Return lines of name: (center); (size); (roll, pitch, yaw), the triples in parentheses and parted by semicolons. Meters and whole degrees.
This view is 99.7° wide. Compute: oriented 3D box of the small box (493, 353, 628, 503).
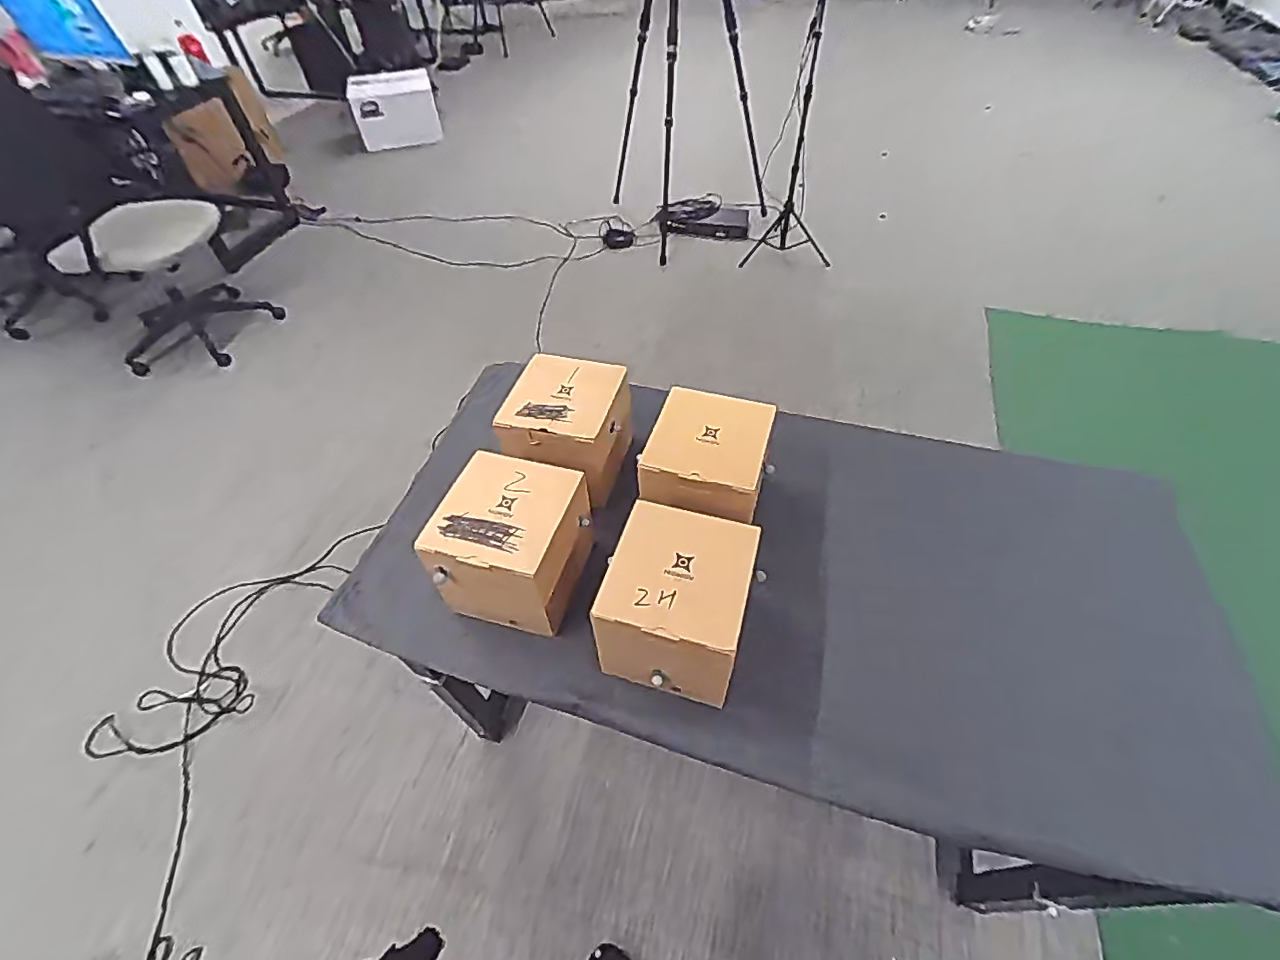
small box: (-0.120, -0.085, 0.909); (0.168, 0.176, 0.179); (11, 51, 11)

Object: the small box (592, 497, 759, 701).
small box: (0.048, 0.155, 0.701); (0.168, 0.176, 0.179); (12, 51, 13)

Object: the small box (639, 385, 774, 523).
small box: (0.102, -0.016, 0.846); (0.168, 0.176, 0.179); (13, 53, 13)
